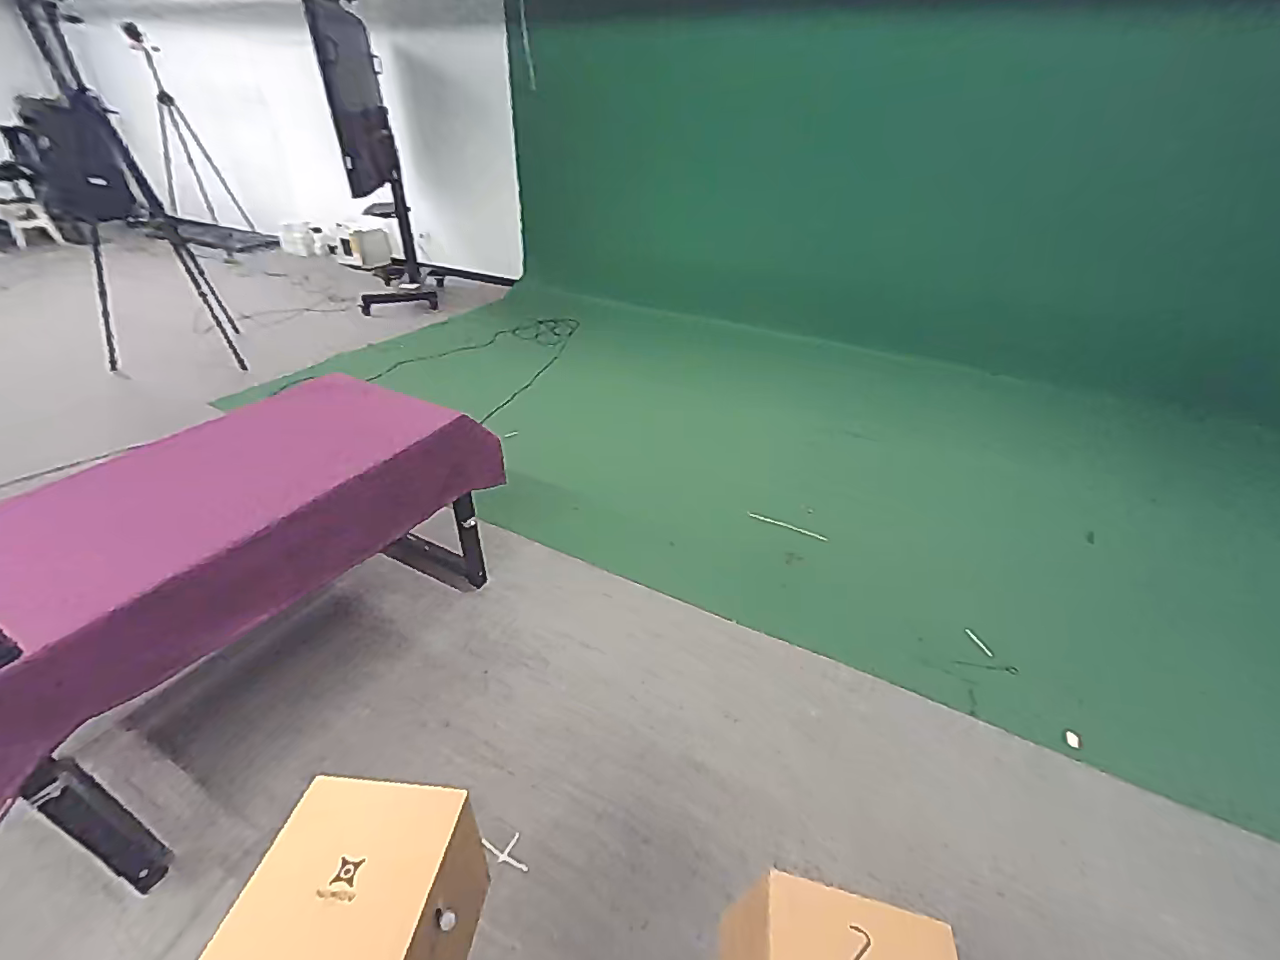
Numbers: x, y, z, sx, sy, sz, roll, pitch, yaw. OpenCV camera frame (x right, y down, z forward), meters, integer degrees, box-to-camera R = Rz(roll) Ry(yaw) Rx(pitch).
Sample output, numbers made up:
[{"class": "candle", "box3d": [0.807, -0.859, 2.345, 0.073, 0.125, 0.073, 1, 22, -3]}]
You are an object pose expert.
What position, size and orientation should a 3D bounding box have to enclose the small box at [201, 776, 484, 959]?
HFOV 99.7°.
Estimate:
[{"class": "small box", "box3d": [-0.260, 0.423, 0.518, 0.168, 0.176, 0.179, 3, 30, 5]}]
